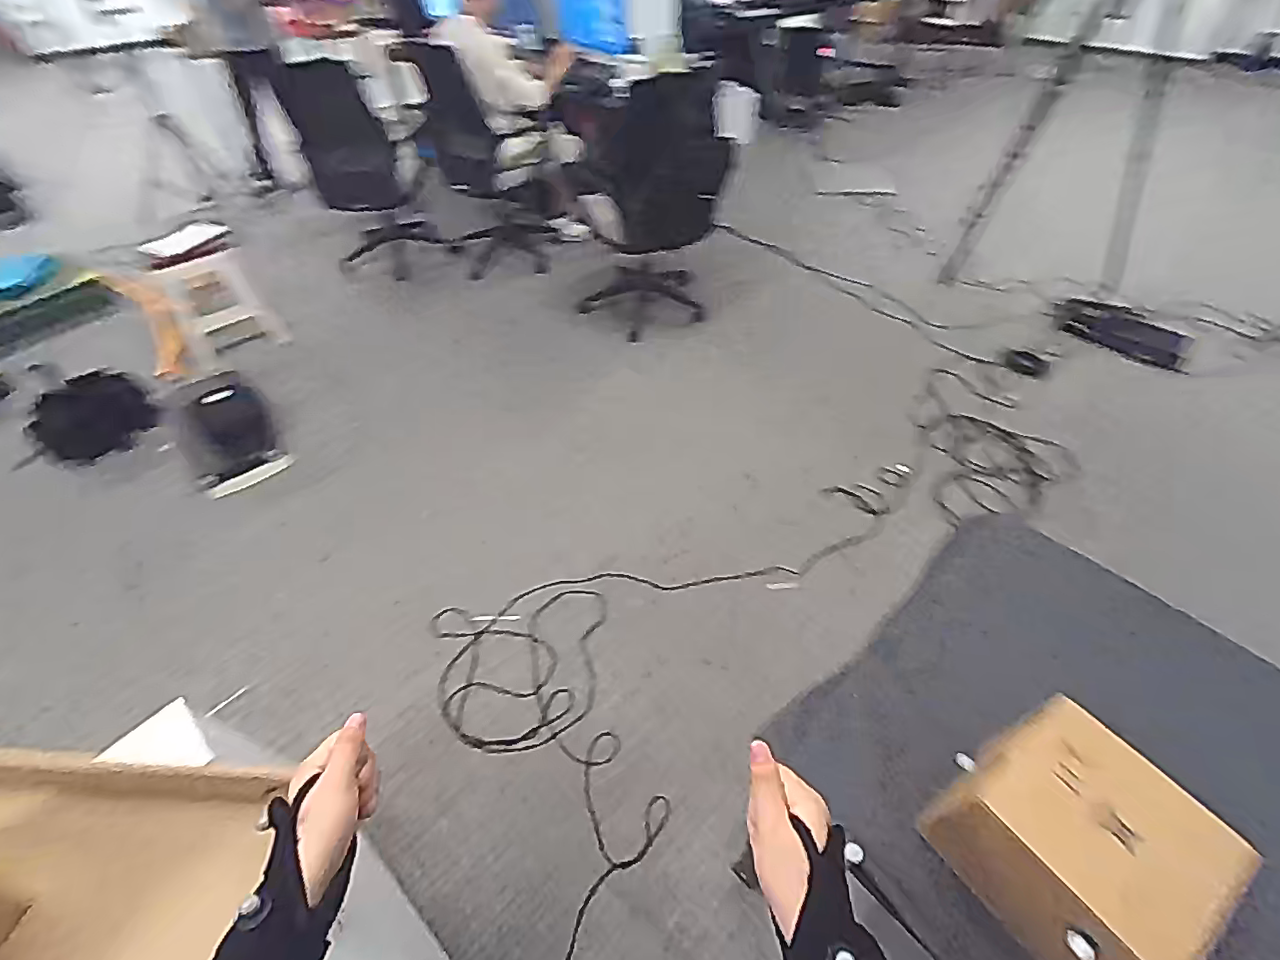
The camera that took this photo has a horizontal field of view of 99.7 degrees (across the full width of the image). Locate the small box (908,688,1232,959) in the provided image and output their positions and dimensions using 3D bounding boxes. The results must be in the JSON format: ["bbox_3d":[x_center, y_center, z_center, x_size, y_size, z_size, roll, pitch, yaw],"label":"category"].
[{"bbox_3d":[0.427,0.363,0.569,0.168,0.176,0.179,-29,54,-22],"label":"small box"}]
